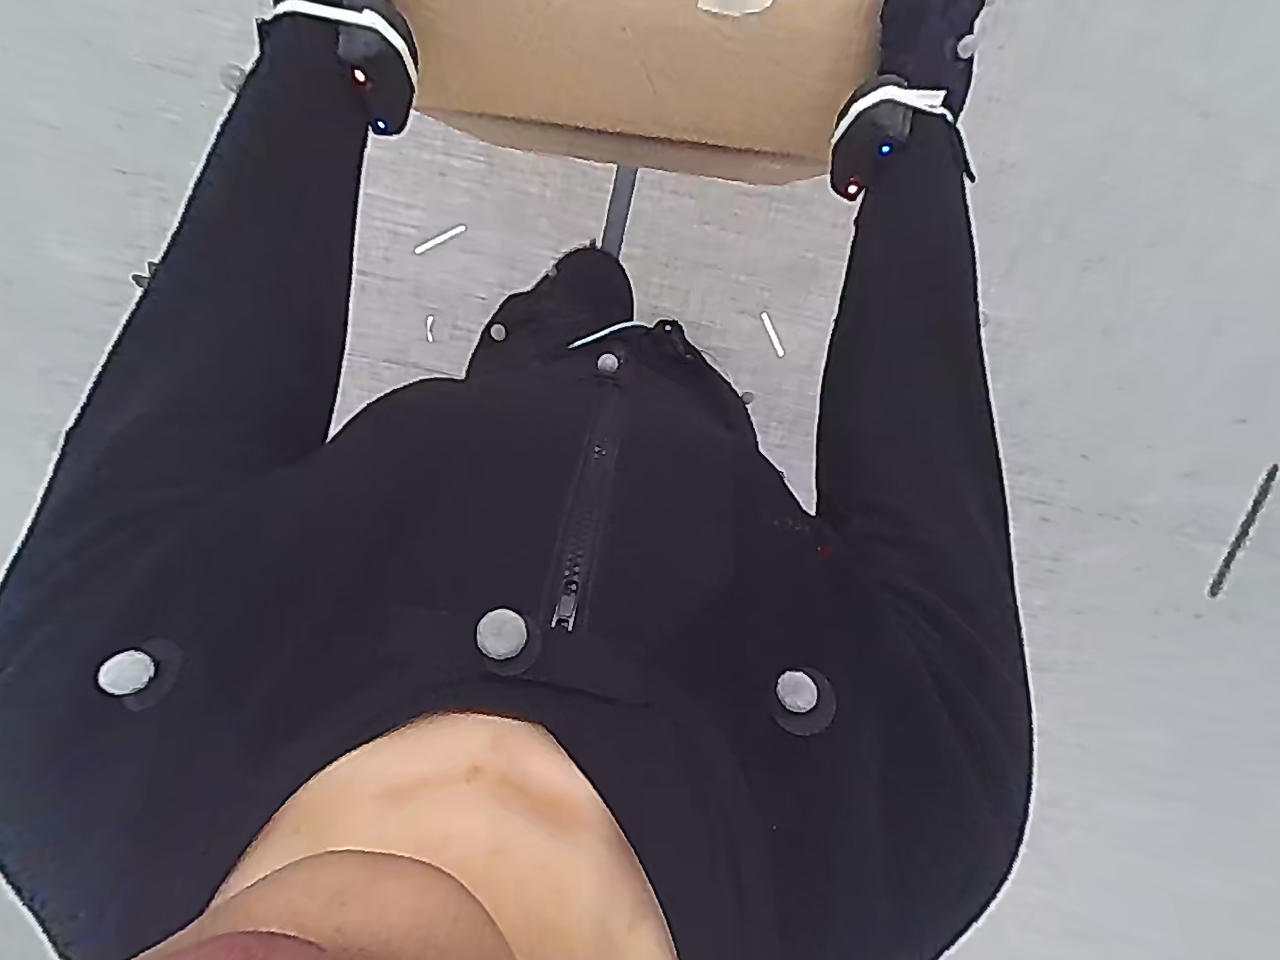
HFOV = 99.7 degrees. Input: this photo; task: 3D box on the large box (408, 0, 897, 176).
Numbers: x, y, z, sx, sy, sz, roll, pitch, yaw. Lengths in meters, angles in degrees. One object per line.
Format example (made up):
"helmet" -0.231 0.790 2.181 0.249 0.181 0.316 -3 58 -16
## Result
"large box" 0.014 -0.510 0.544 0.408 0.320 0.320 5 117 -3
